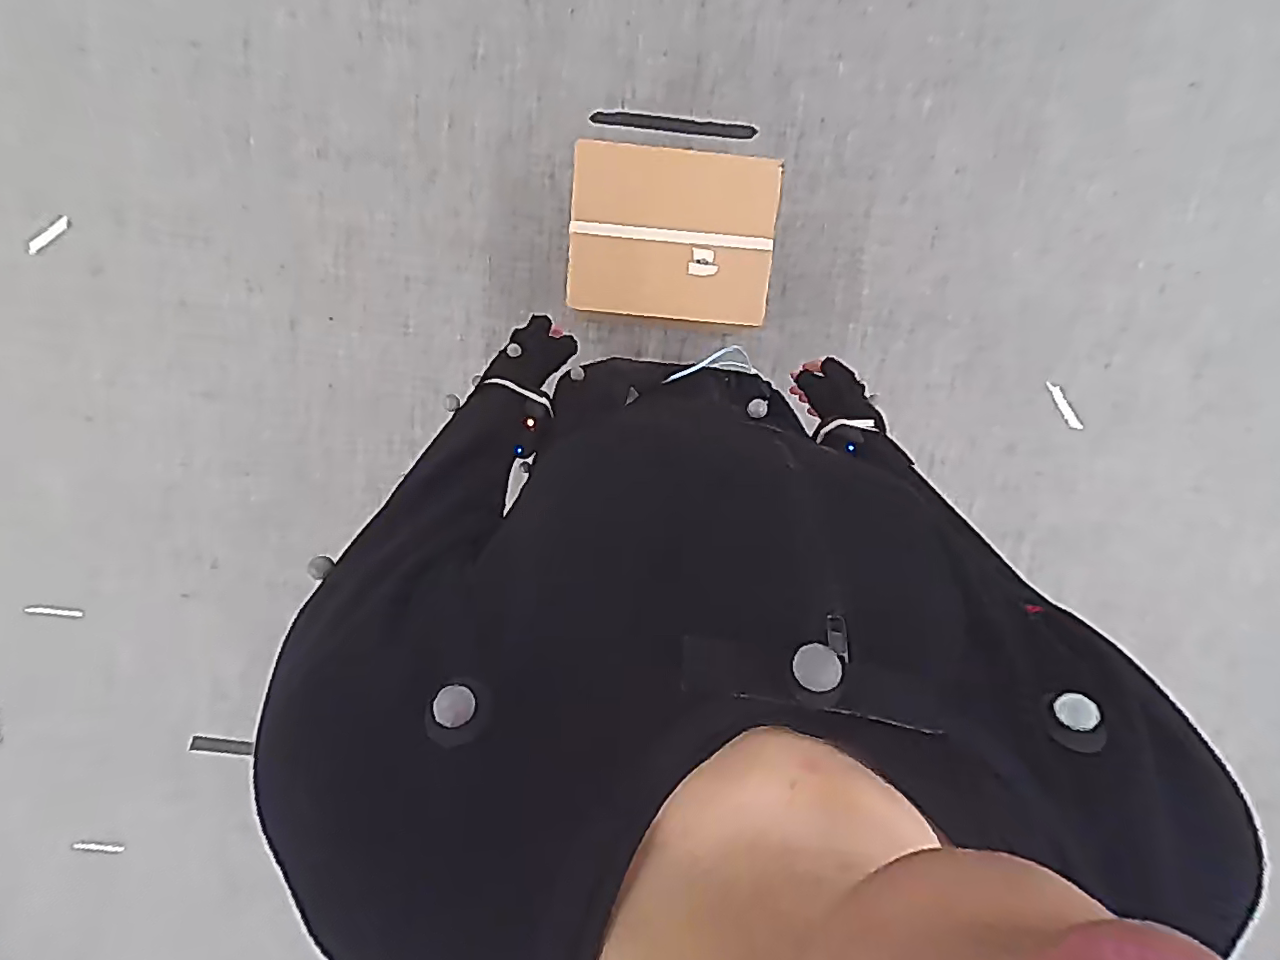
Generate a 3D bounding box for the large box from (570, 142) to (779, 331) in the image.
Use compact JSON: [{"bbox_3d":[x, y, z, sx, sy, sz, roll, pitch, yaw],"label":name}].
[{"bbox_3d":[0.059,-0.519,1.225,0.408,0.320,0.320,5,103,-3],"label":"large box"}]
